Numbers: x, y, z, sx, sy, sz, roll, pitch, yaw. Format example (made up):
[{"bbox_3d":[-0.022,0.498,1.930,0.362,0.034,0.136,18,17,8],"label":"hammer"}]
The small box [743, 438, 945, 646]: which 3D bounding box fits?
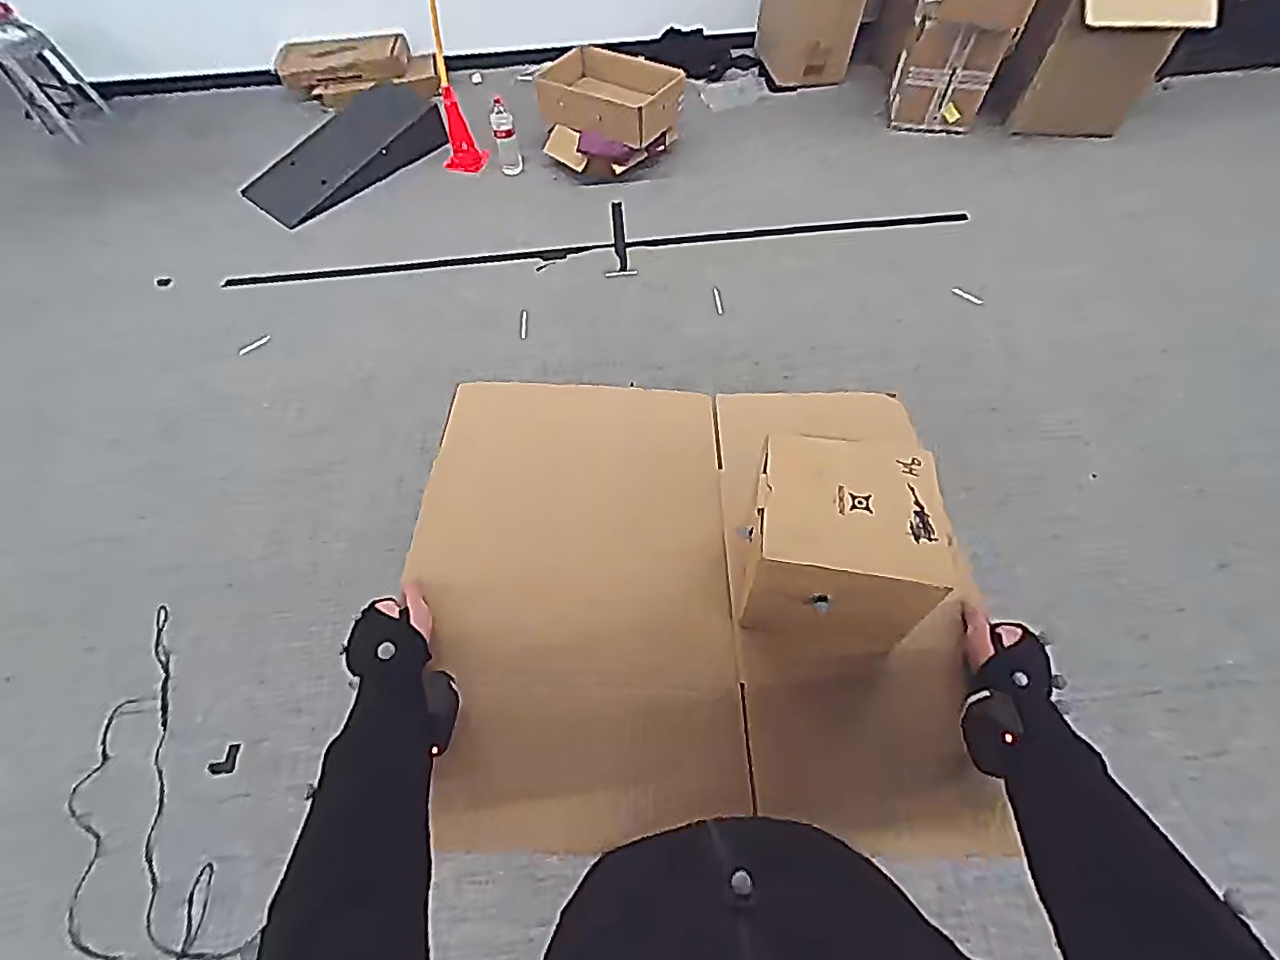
[{"bbox_3d":[0.215,0.074,0.617,0.179,0.176,0.168,7,55,9],"label":"small box"}]
